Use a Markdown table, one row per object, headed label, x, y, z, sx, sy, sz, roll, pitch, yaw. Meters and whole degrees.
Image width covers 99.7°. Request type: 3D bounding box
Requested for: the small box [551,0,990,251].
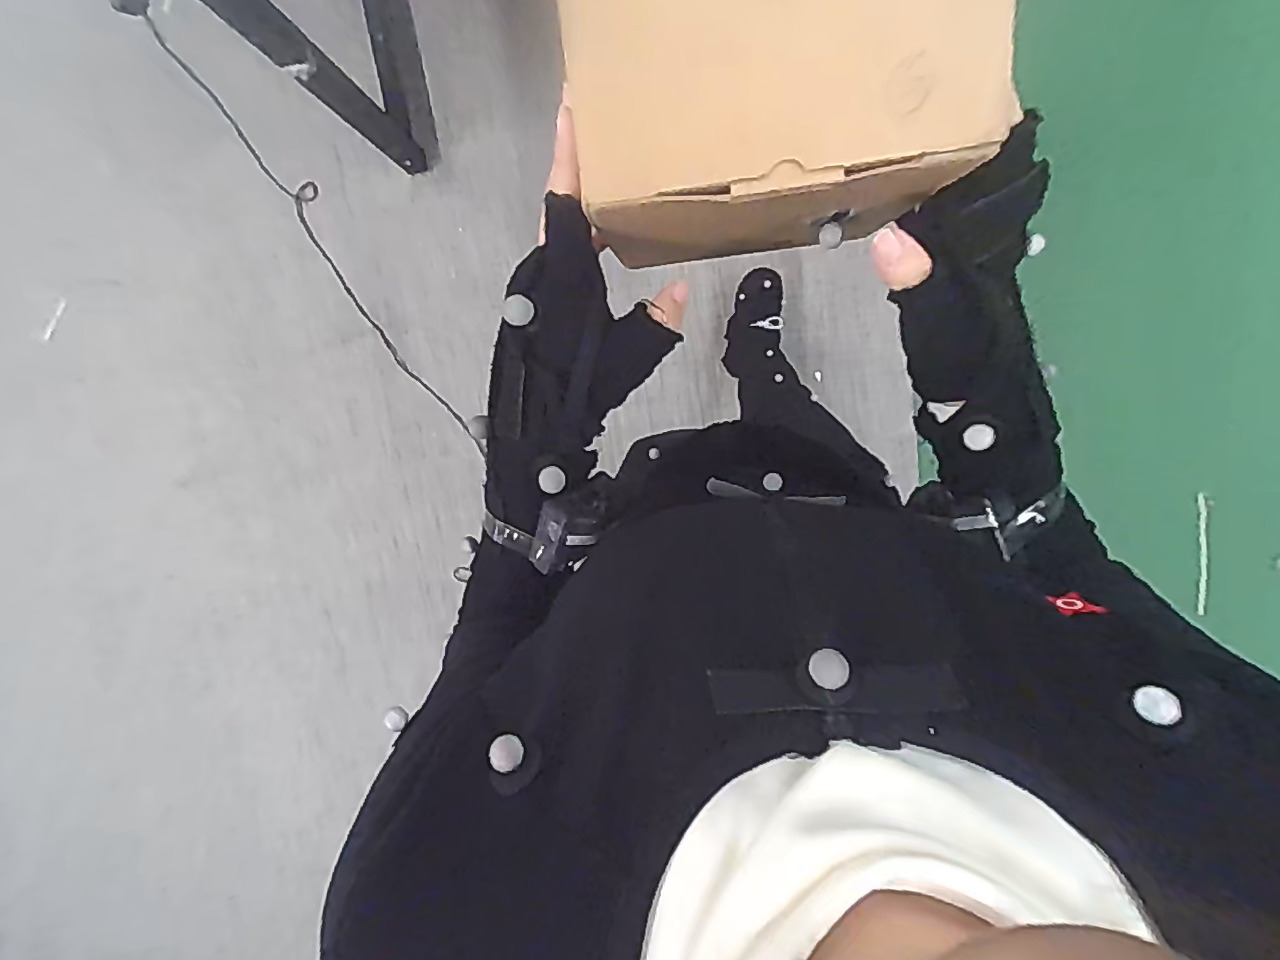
| label | x | y | z | sx | sy | sz | roll | pitch | yaw |
| --- | --- | --- | --- | --- | --- | --- | --- | --- | --- |
| small box | 0.051 | -0.226 | 0.277 | 0.168 | 0.176 | 0.179 | -6 | 102 | 5 |
